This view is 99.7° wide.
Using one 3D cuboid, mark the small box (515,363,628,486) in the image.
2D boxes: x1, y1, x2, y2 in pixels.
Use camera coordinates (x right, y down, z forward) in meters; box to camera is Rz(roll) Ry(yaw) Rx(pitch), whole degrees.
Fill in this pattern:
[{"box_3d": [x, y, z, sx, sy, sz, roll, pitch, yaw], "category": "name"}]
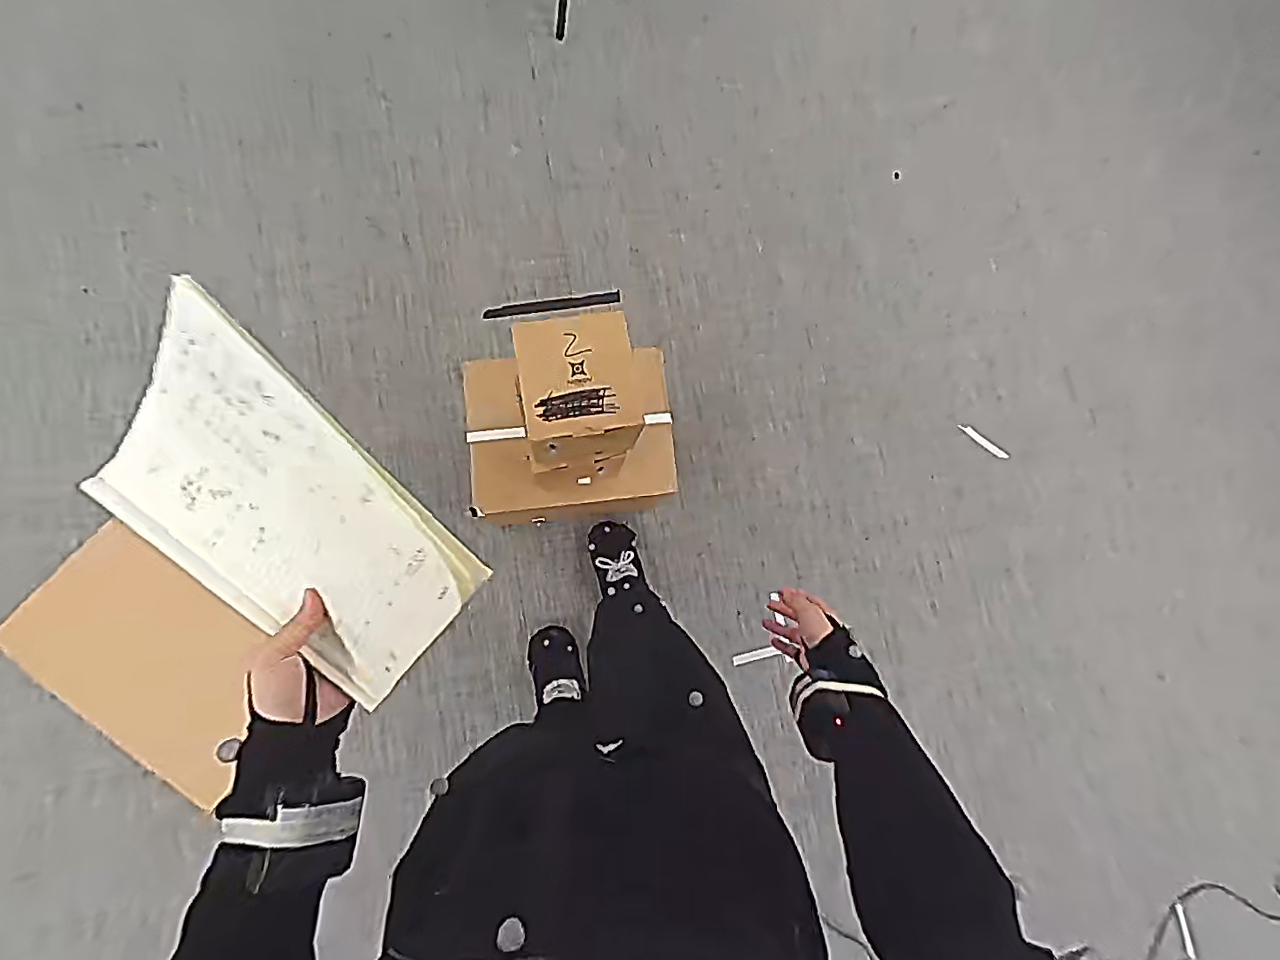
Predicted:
[{"box_3d": [-0.124, -0.092, 0.990, 0.168, 0.176, 0.179, -12, 82, -10], "category": "small box"}]
